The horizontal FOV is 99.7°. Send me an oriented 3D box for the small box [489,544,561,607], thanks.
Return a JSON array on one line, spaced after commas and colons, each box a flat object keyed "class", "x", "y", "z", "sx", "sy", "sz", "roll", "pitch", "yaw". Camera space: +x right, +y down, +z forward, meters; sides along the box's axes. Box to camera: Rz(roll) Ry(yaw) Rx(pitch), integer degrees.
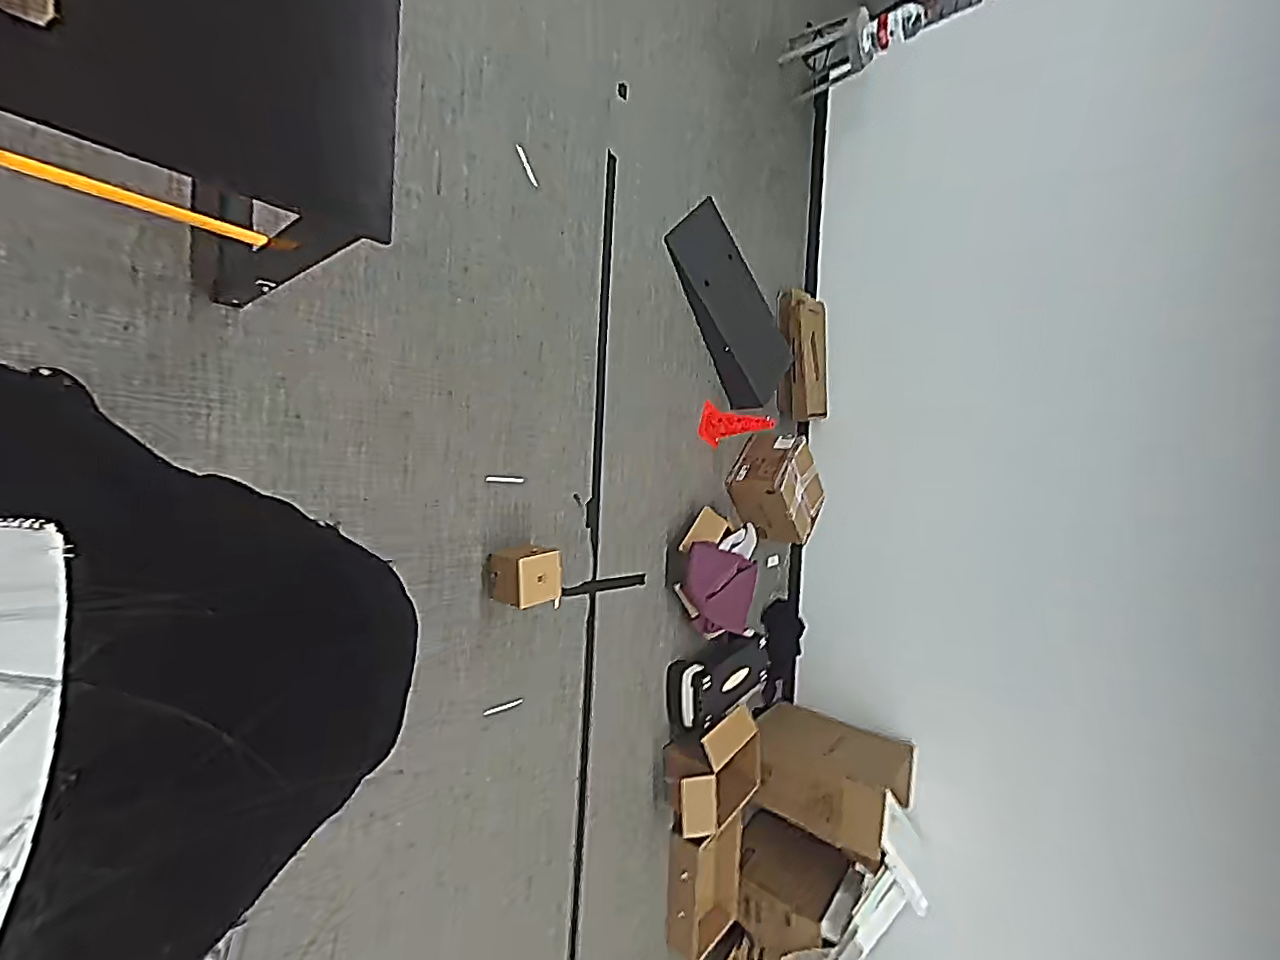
[{"class": "small box", "x": -0.390, "y": 0.317, "z": 1.835, "sx": 0.179, "sy": 0.176, "sz": 0.168, "roll": -7, "pitch": 97, "yaw": -48}]
